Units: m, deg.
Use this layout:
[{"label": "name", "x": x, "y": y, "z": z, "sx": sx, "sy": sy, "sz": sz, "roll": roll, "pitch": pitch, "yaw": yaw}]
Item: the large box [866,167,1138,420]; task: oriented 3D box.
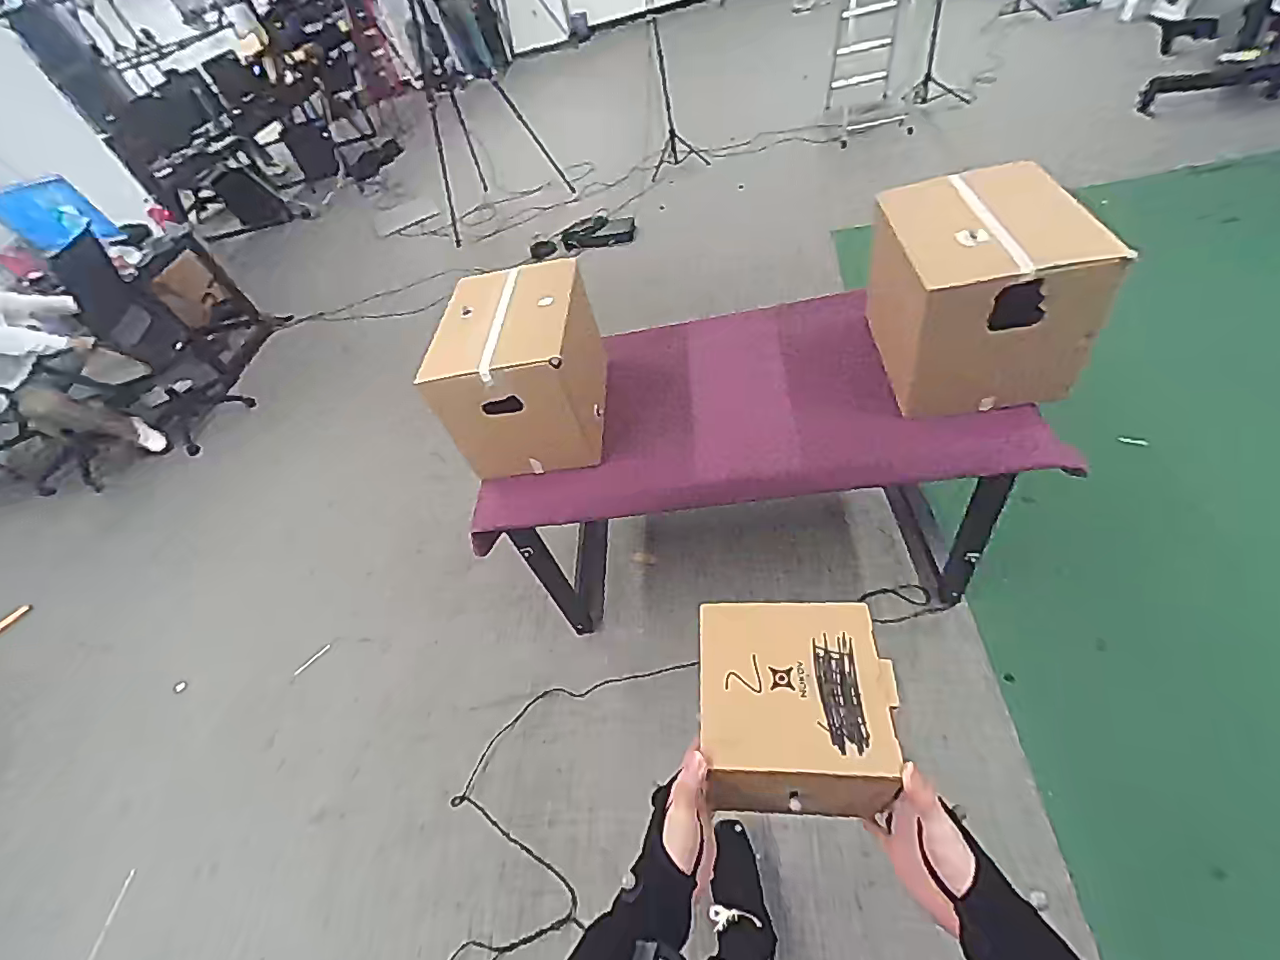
[{"label": "large box", "x": 0.688, "y": -0.385, "z": 1.129, "sx": 0.320, "sy": 0.320, "sz": 0.408, "roll": -7, "pitch": 50, "yaw": 12}]
